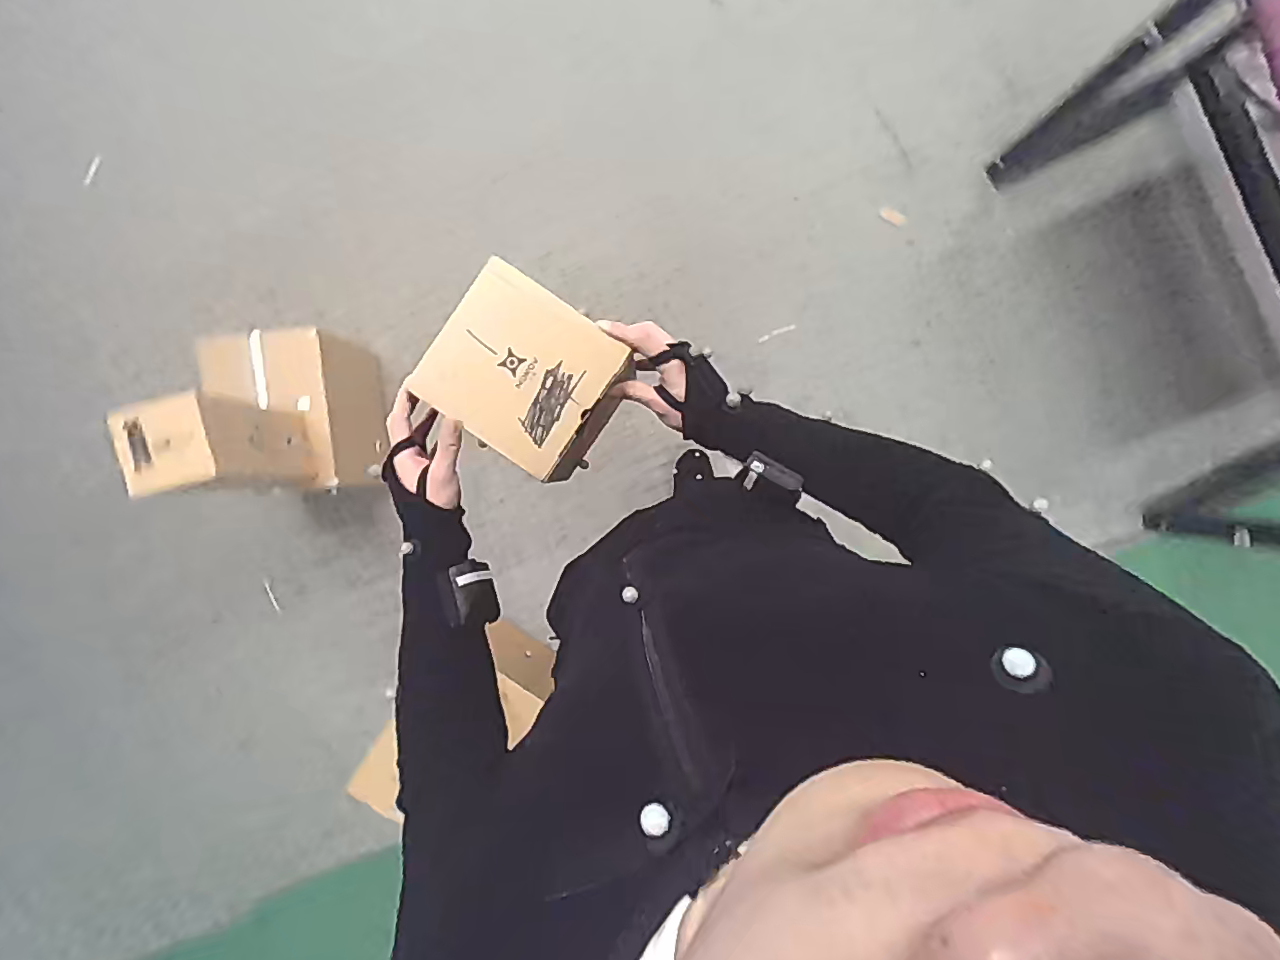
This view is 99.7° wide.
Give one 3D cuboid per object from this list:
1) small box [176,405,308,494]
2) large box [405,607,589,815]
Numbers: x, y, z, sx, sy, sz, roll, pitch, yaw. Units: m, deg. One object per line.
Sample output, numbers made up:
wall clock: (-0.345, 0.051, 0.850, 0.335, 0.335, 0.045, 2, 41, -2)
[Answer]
small box: (-0.909, -0.069, 1.257, 0.179, 0.176, 0.168, -14, 91, 0)
large box: (-0.401, 0.620, 1.518, 0.408, 0.320, 0.320, 33, 94, -1)
